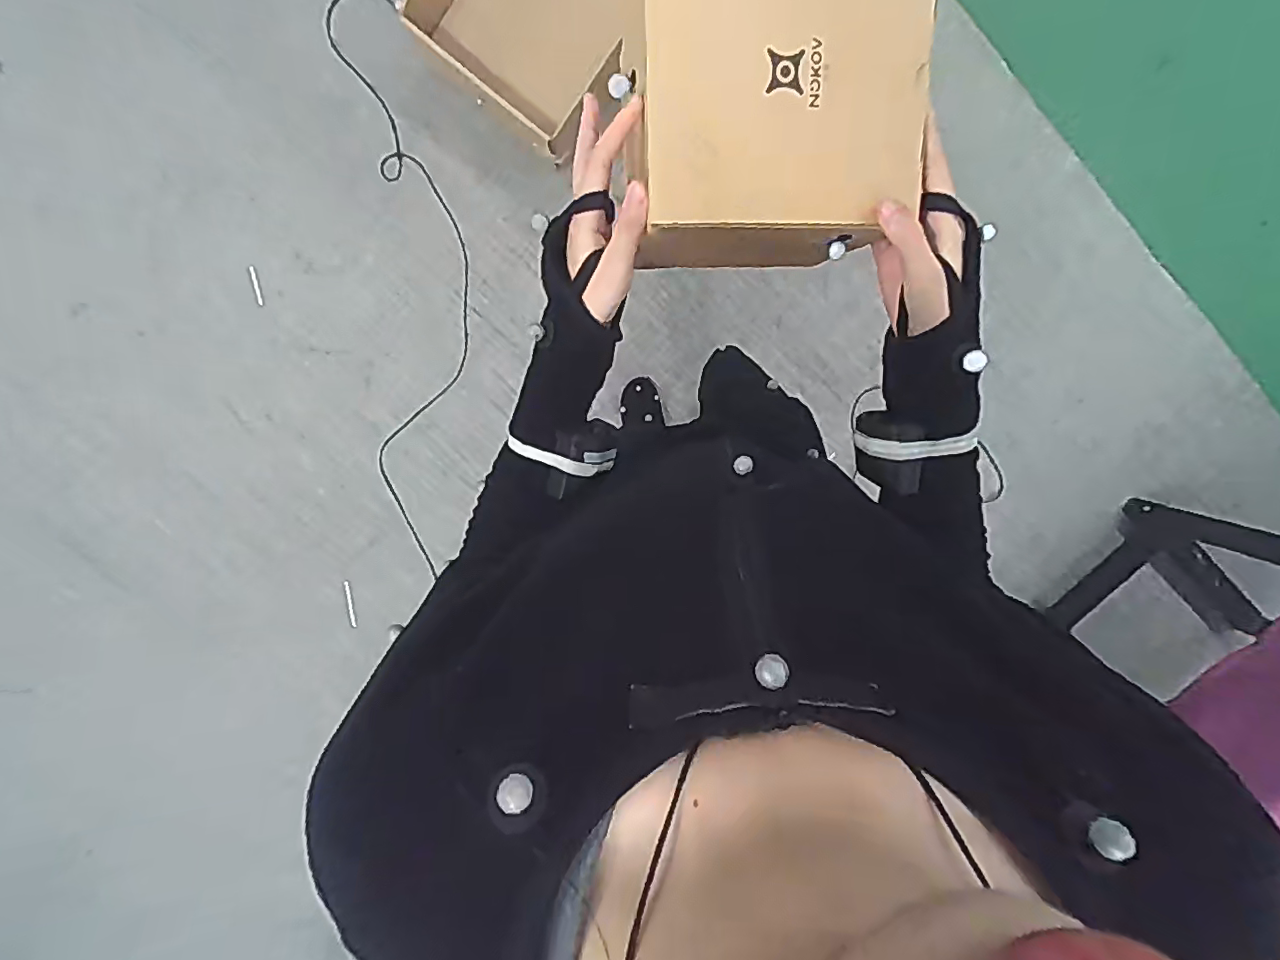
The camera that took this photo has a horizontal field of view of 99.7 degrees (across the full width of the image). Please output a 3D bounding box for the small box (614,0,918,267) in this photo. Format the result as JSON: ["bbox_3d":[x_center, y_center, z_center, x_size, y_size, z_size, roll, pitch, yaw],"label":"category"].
[{"bbox_3d":[0.071,-0.256,0.399,0.179,0.176,0.168,-3,103,-7],"label":"small box"}]
